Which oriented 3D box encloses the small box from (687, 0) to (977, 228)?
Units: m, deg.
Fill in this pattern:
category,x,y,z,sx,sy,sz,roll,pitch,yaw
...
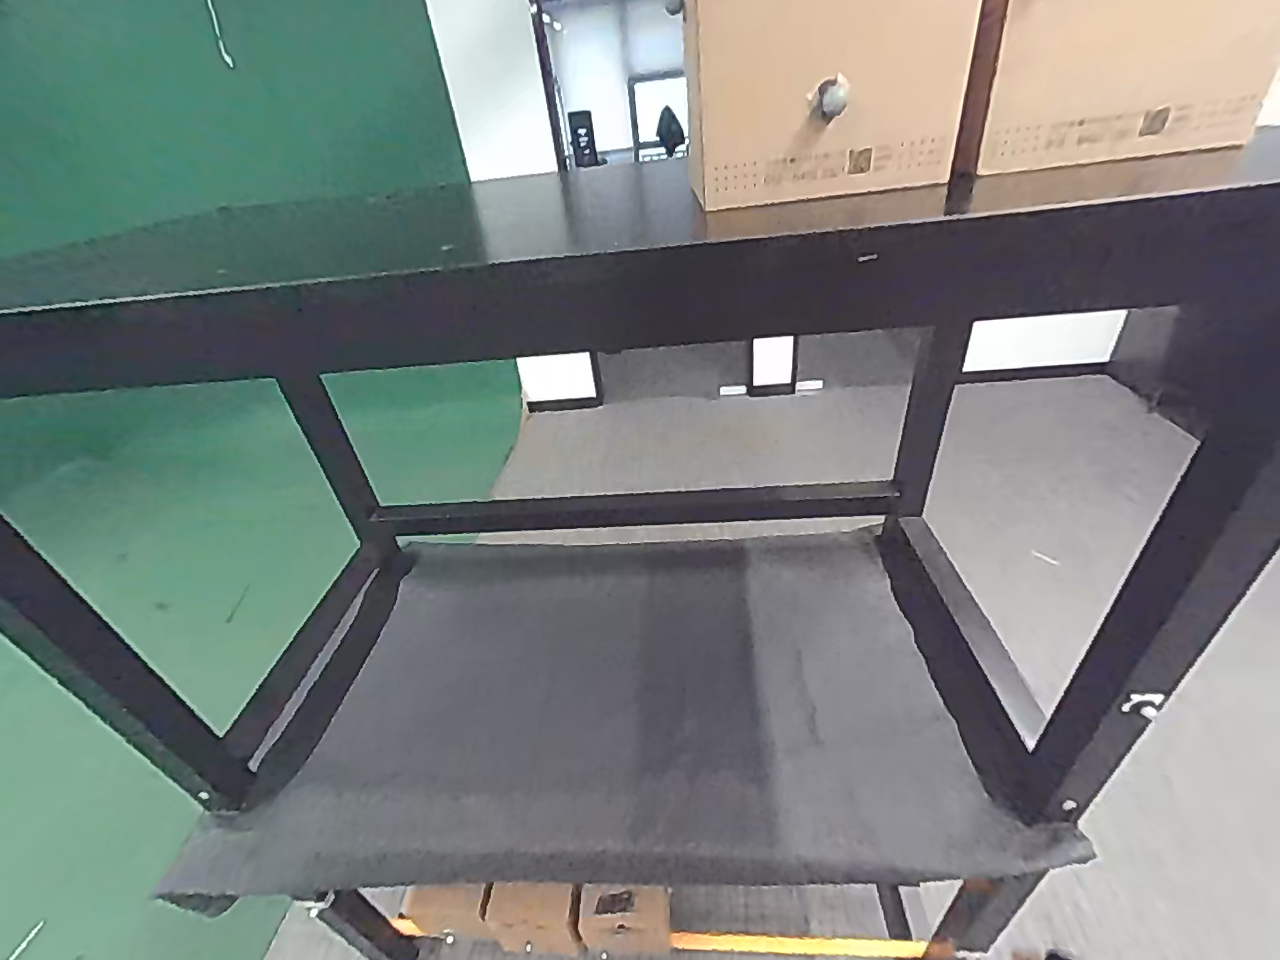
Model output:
category,x,y,z,sx,sy,sz,roll,pitch,yaw
small box,0.121,-0.295,0.405,0.168,0.176,0.179,-5,34,5
